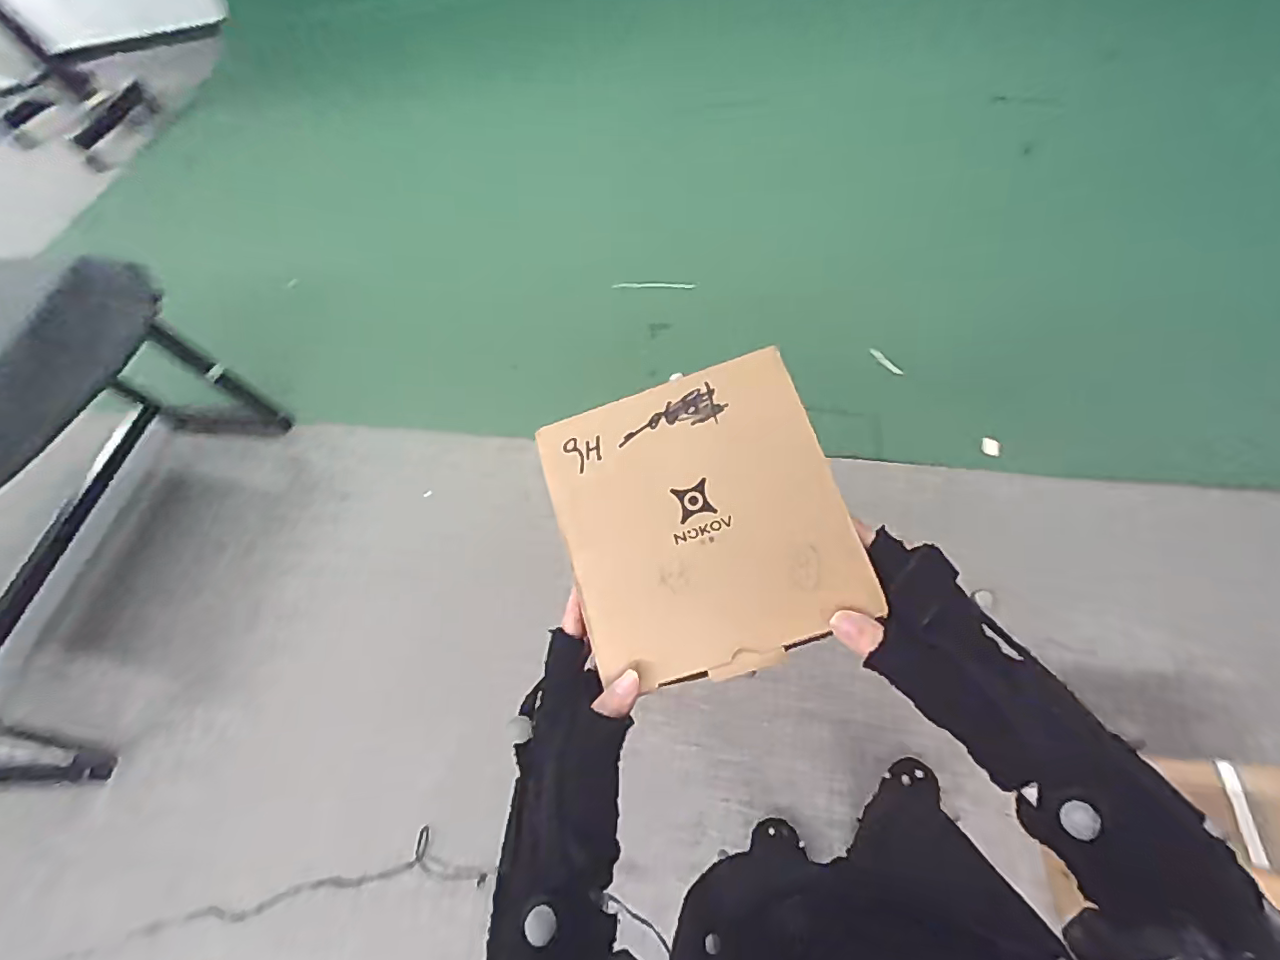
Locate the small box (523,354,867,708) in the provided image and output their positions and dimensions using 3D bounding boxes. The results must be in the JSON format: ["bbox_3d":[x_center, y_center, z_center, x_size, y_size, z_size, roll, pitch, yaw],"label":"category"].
[{"bbox_3d":[0.038,0.042,0.400,0.168,0.176,0.179,-20,75,4],"label":"small box"}]
